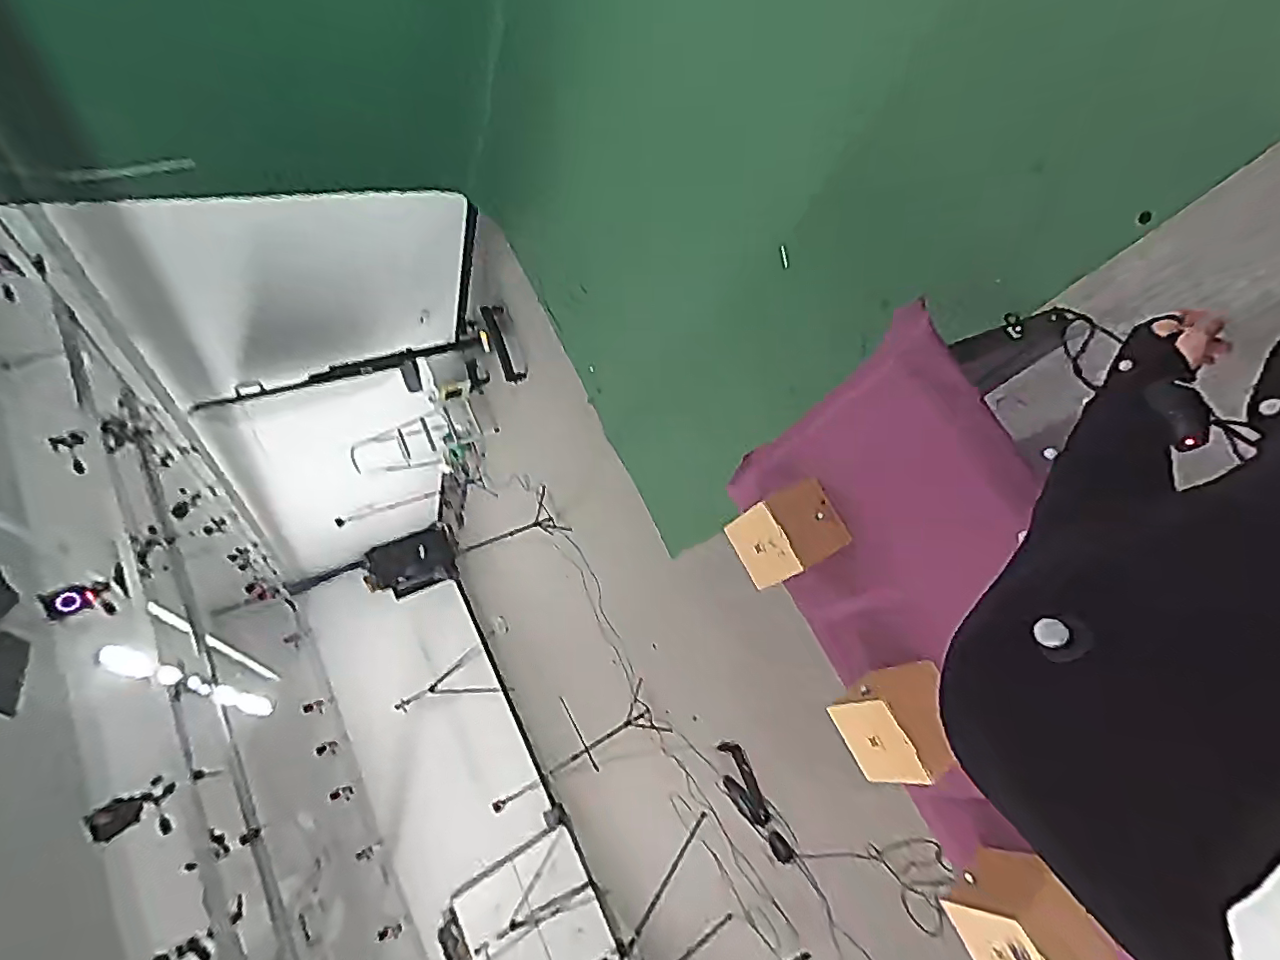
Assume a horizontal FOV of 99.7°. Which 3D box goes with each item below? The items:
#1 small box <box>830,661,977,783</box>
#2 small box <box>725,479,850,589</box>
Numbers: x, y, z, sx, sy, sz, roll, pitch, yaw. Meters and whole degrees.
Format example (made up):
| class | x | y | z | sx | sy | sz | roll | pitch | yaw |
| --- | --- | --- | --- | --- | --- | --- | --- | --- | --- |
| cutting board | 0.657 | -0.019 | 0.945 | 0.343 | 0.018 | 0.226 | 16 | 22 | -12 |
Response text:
| class | x | y | z | sx | sy | sz | roll | pitch | yaw |
| --- | --- | --- | --- | --- | --- | --- | --- | --- | --- |
| small box | 0.540 | 0.495 | 1.114 | 0.168 | 0.176 | 0.179 | 61 | 148 | 14 |
| small box | 0.332 | 0.121 | 1.218 | 0.168 | 0.176 | 0.179 | 61 | 148 | 13 |
